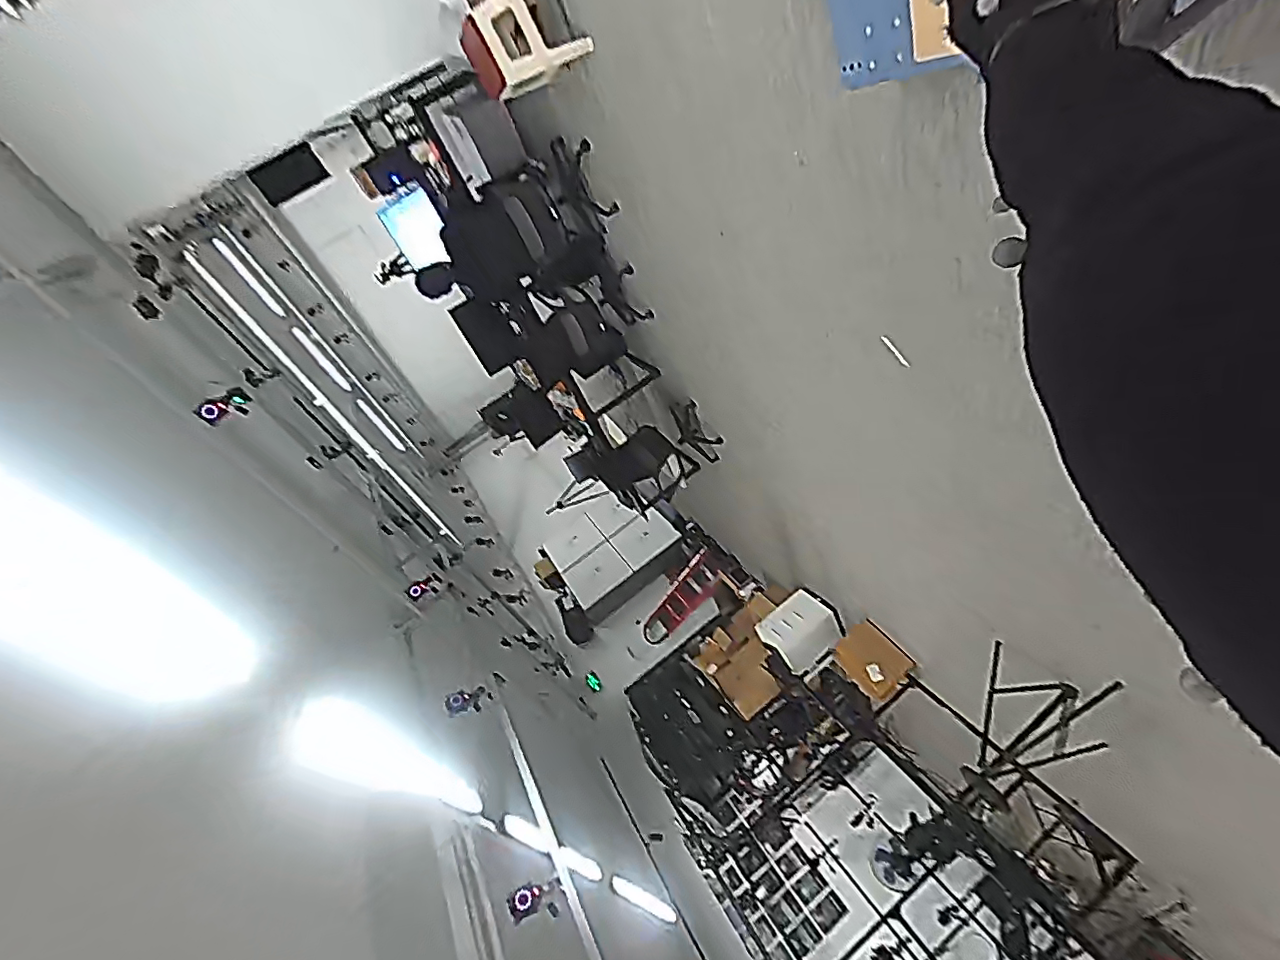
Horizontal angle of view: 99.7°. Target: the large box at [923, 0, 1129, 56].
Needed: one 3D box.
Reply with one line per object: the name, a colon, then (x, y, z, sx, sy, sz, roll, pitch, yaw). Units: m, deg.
large box: (0.612, -0.909, 0.737, 0.320, 0.320, 0.408, 39, 163, 53)
